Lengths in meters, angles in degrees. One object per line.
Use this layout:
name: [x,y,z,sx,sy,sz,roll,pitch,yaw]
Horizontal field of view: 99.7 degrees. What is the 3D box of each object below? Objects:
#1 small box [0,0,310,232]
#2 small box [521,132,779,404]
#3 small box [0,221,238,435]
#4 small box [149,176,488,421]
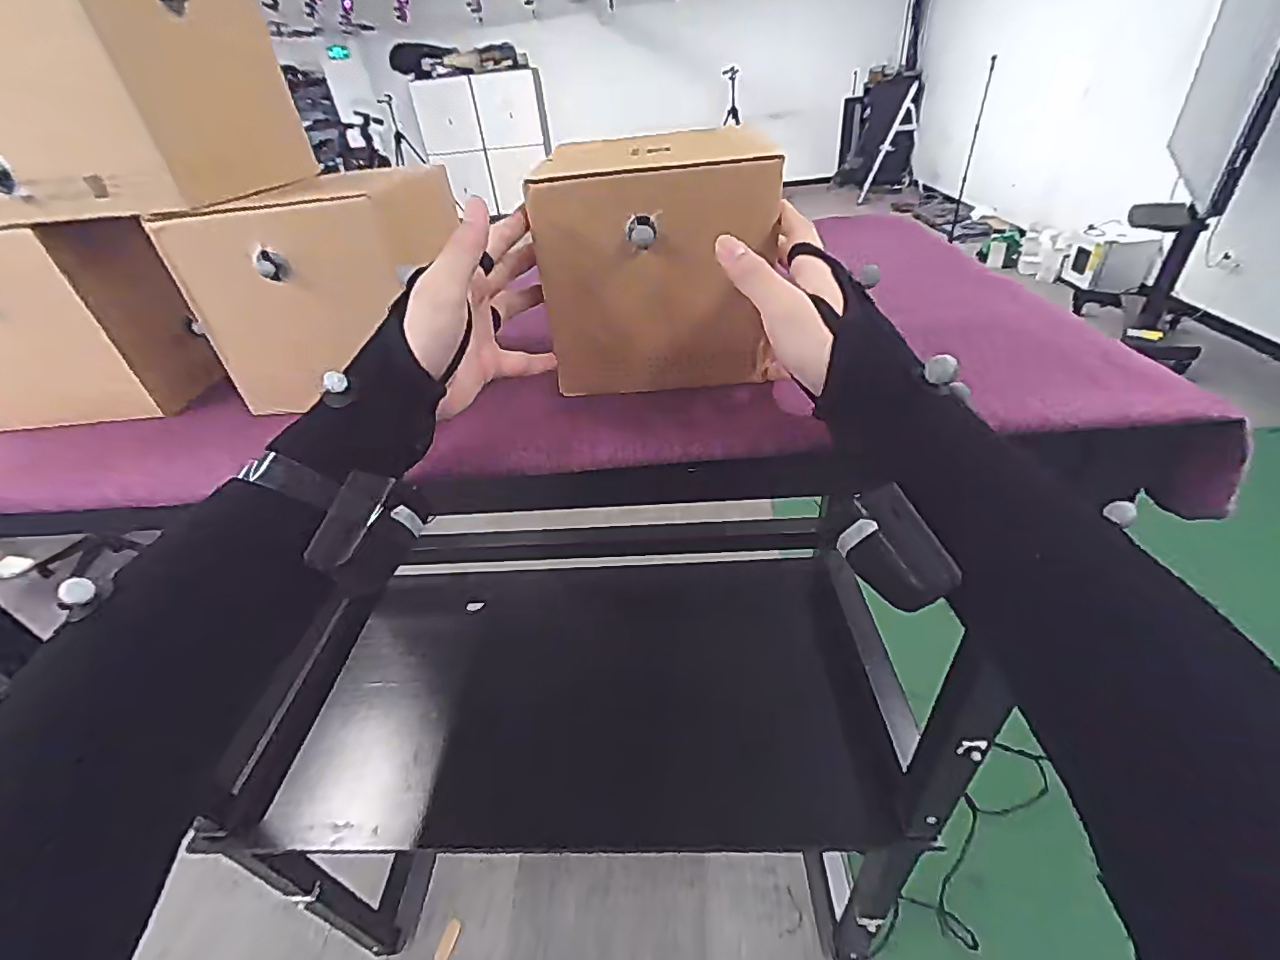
small box: [-0.401,-0.297,0.419,0.168,0.176,0.179,-2,36,6]
small box: [0.016,-0.182,0.470,0.179,0.176,0.168,-5,39,6]
small box: [-0.528,-0.156,0.524,0.179,0.176,0.168,-5,37,4]
small box: [-0.262,-0.164,0.495,0.179,0.176,0.168,-3,37,5]
